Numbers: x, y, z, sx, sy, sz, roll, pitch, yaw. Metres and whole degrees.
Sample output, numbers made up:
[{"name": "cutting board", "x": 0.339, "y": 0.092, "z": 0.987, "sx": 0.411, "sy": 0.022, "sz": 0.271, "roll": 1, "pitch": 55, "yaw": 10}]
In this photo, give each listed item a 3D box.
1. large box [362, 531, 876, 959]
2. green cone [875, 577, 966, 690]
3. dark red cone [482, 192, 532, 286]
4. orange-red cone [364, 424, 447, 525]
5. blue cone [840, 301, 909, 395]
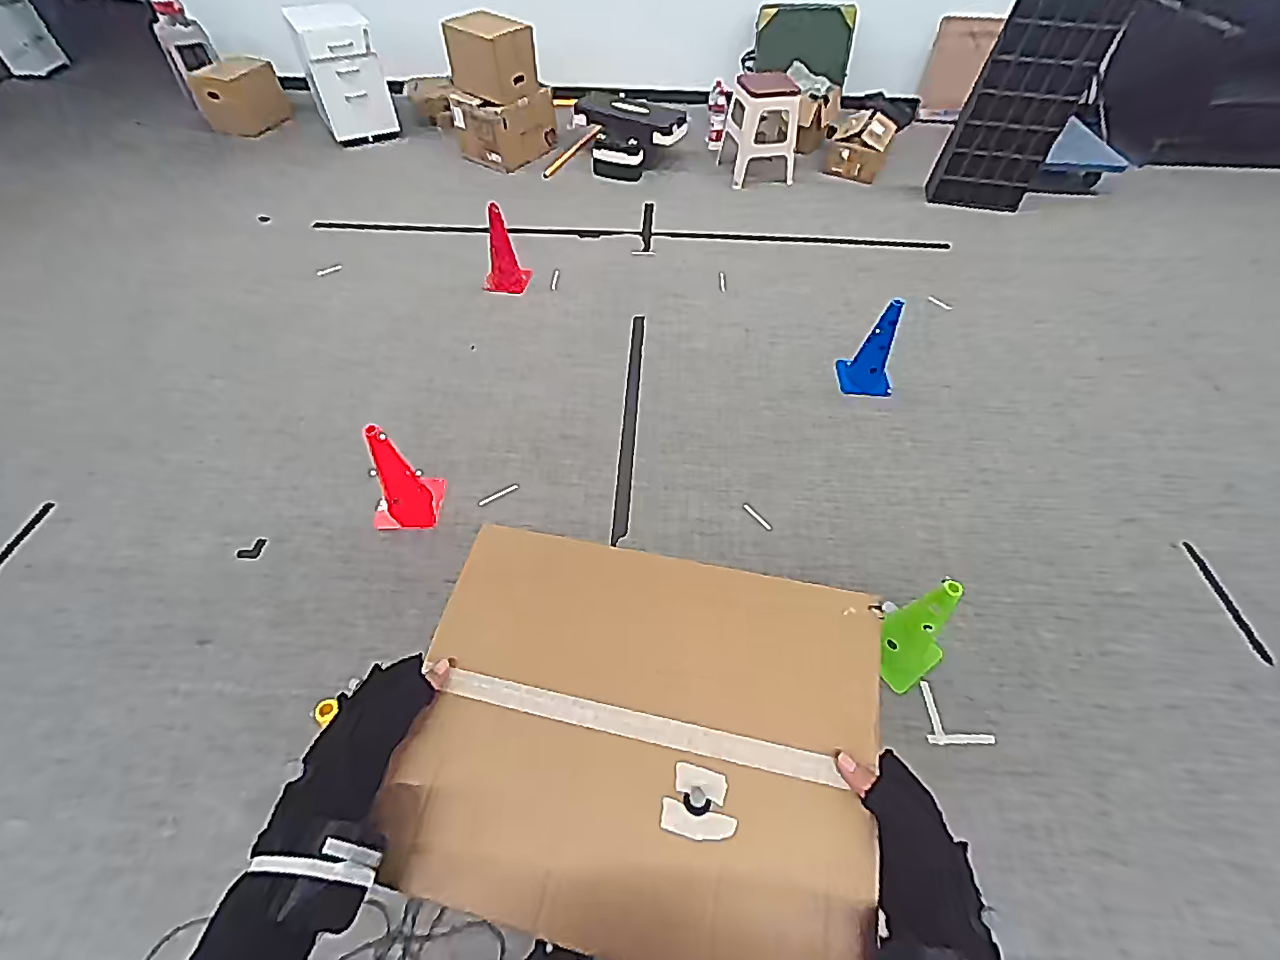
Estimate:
[{"name": "large box", "x": 0.008, "y": 0.288, "z": 0.602, "sx": 0.408, "sy": 0.320, "sz": 0.320, "roll": 10, "pitch": 61, "yaw": 10}, {"name": "green cone", "x": 0.719, "y": 0.353, "z": 1.376, "sx": 0.202, "sy": 0.368, "sz": 0.200, "roll": -28, "pitch": 59, "yaw": -23}, {"name": "dark red cone", "x": -0.615, "y": -1.075, "z": 2.409, "sx": 0.201, "sy": 0.394, "sz": 0.202, "roll": 8, "pitch": 53, "yaw": 3}, {"name": "orange-red cone", "x": -0.745, "y": -0.036, "z": 1.637, "sx": 0.198, "sy": 0.360, "sz": 0.199, "roll": 0, "pitch": 54, "yaw": 0}, {"name": "blue cone", "x": 0.923, "y": -0.516, "z": 2.072, "sx": 0.192, "sy": 0.380, "sz": 0.193, "roll": 6, "pitch": 53, "yaw": 2}]
